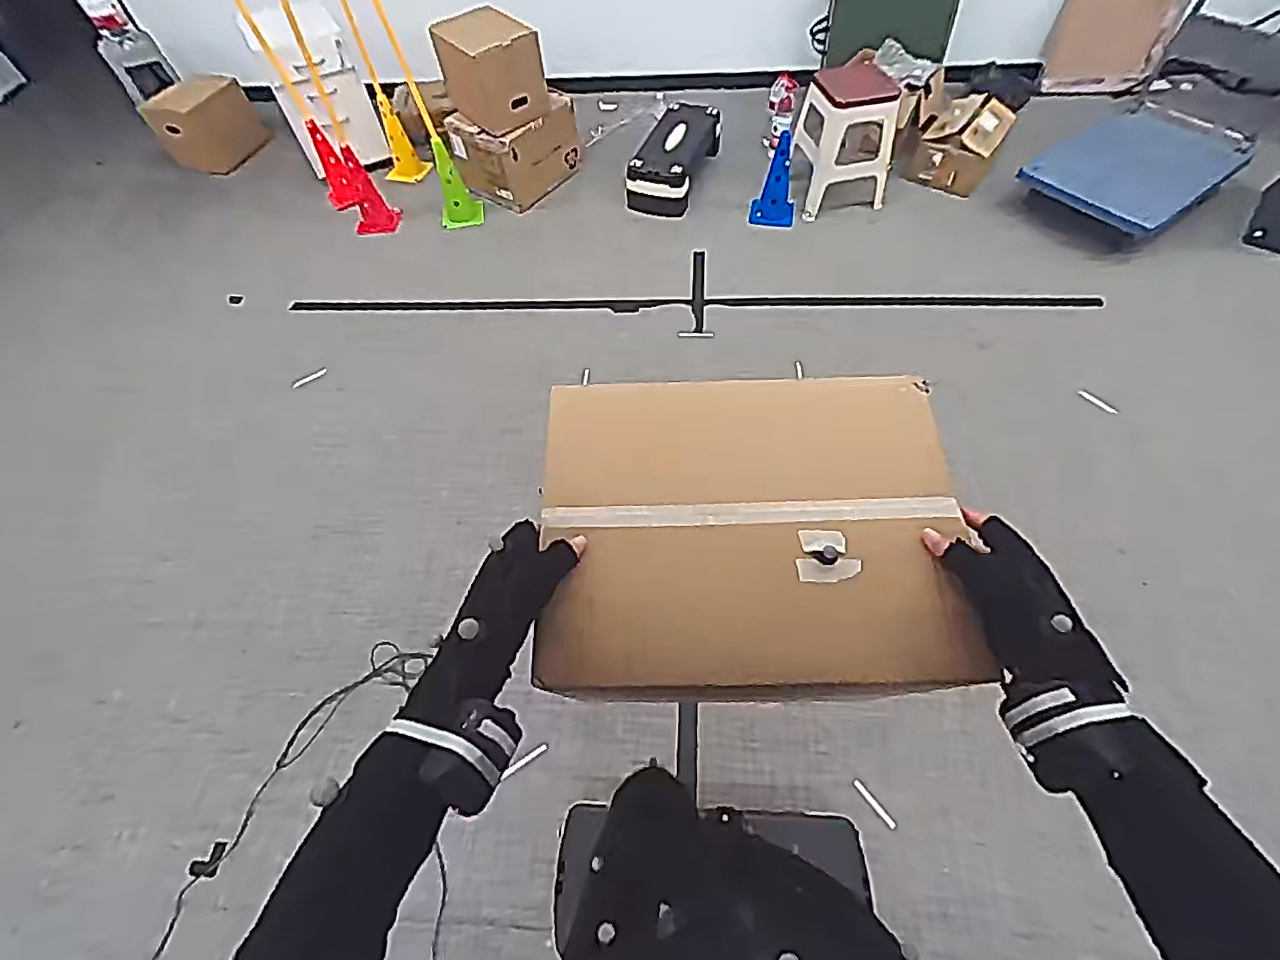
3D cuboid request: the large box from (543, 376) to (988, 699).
[{"bbox_3d":[0.108,0.092,0.672,0.408,0.320,0.320,-1,66,1],"label":"large box"}]
